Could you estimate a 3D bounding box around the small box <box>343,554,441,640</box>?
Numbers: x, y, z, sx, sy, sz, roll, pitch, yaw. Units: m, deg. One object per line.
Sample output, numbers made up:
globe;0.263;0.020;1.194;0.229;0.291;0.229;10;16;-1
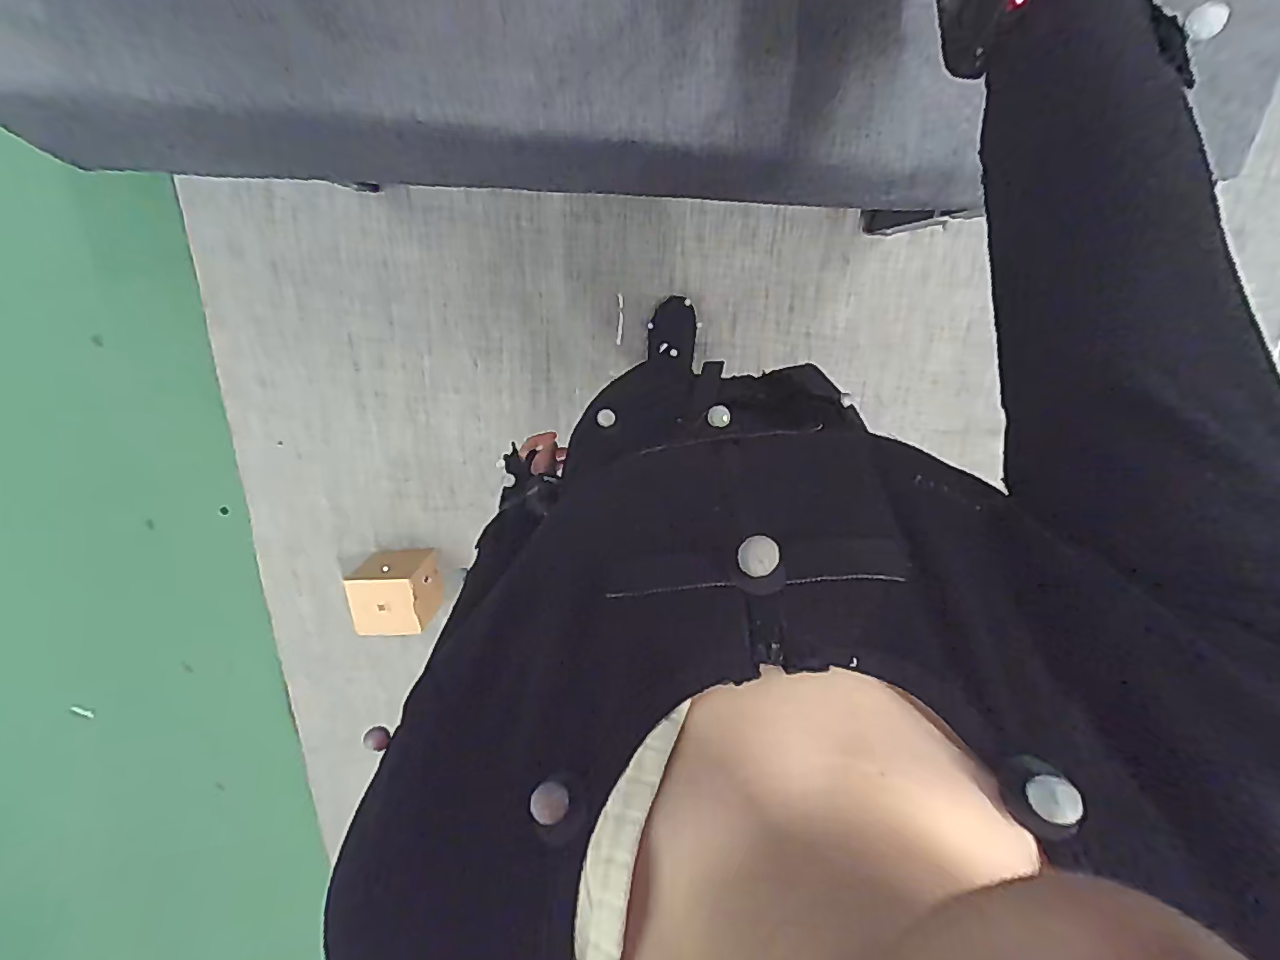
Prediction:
small box;-0.648;0.307;1.441;0.179;0.176;0.168;-2;108;4
